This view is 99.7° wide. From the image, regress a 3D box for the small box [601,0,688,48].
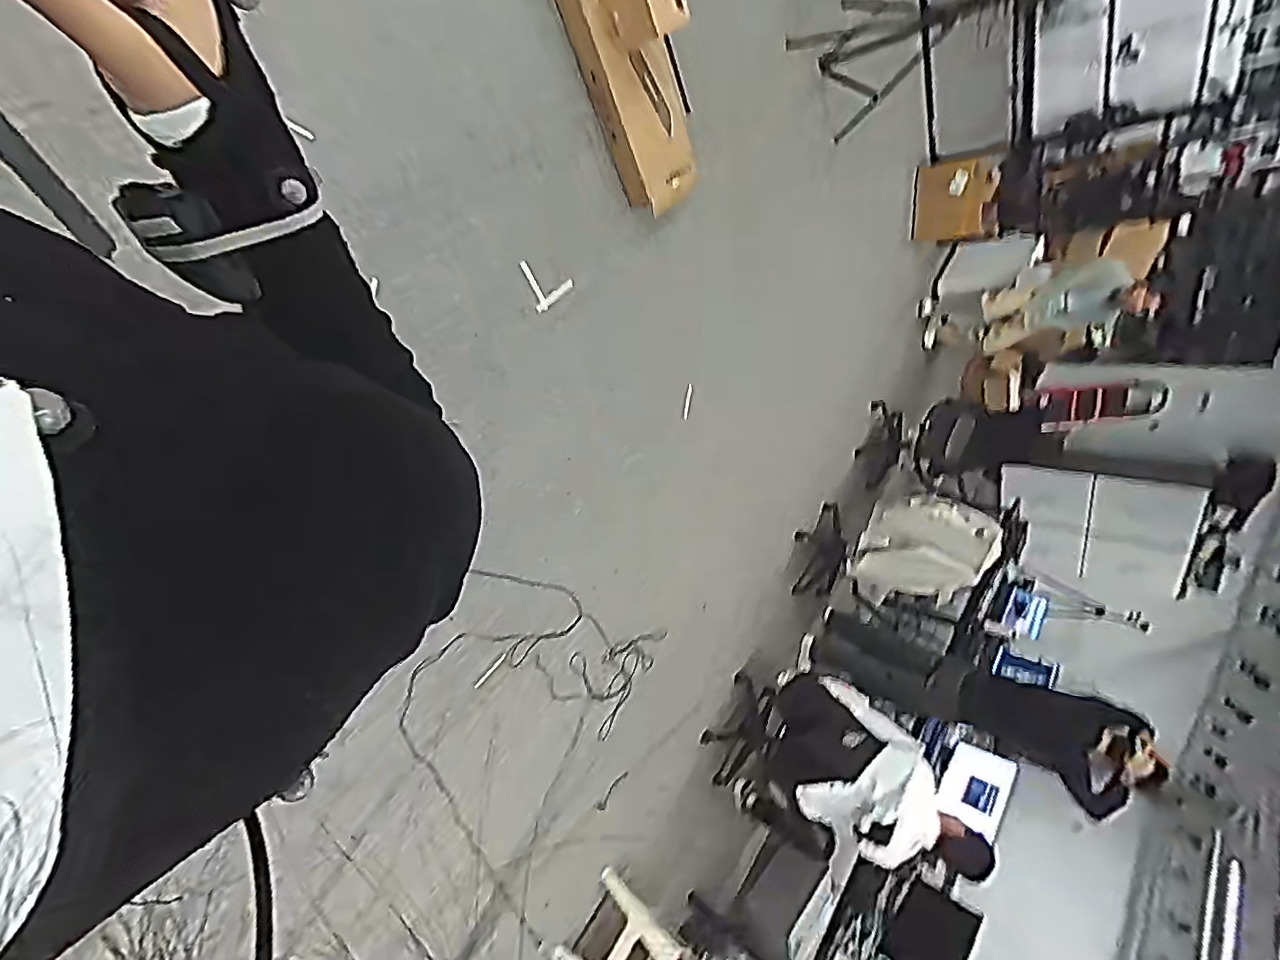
[{"bbox_3d":[0.008,-1.429,1.603,0.179,0.176,0.168,-48,130,-26],"label":"small box"}]
